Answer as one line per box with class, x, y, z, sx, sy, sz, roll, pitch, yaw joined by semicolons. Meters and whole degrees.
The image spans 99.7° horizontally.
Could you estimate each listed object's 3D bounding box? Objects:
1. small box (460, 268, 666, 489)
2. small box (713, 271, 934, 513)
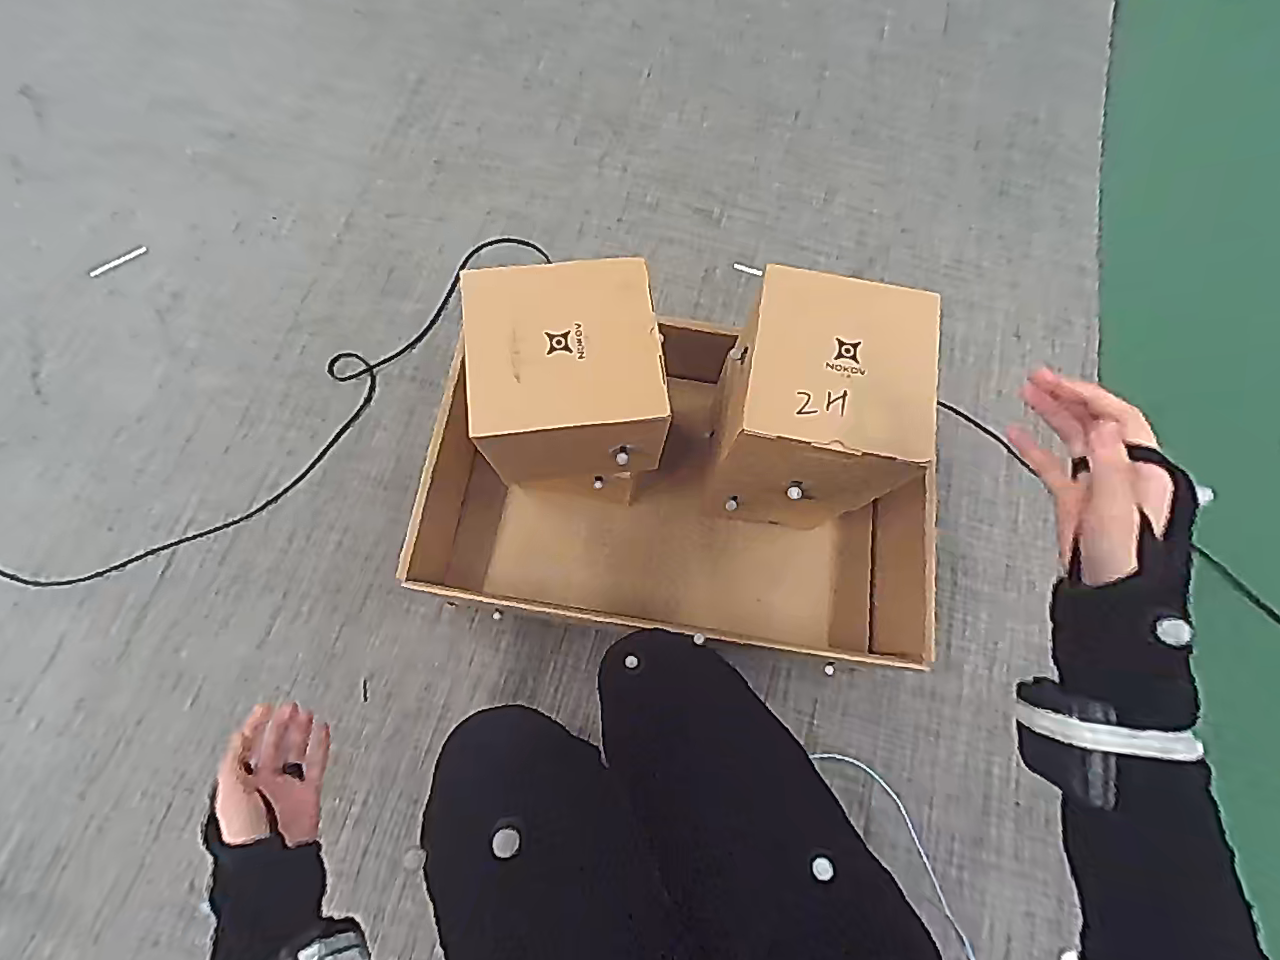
small box;-0.075;-0.094;0.562;0.179;0.176;0.168;-6;75;-4
small box;0.176;-0.079;0.560;0.168;0.176;0.179;11;74;2
